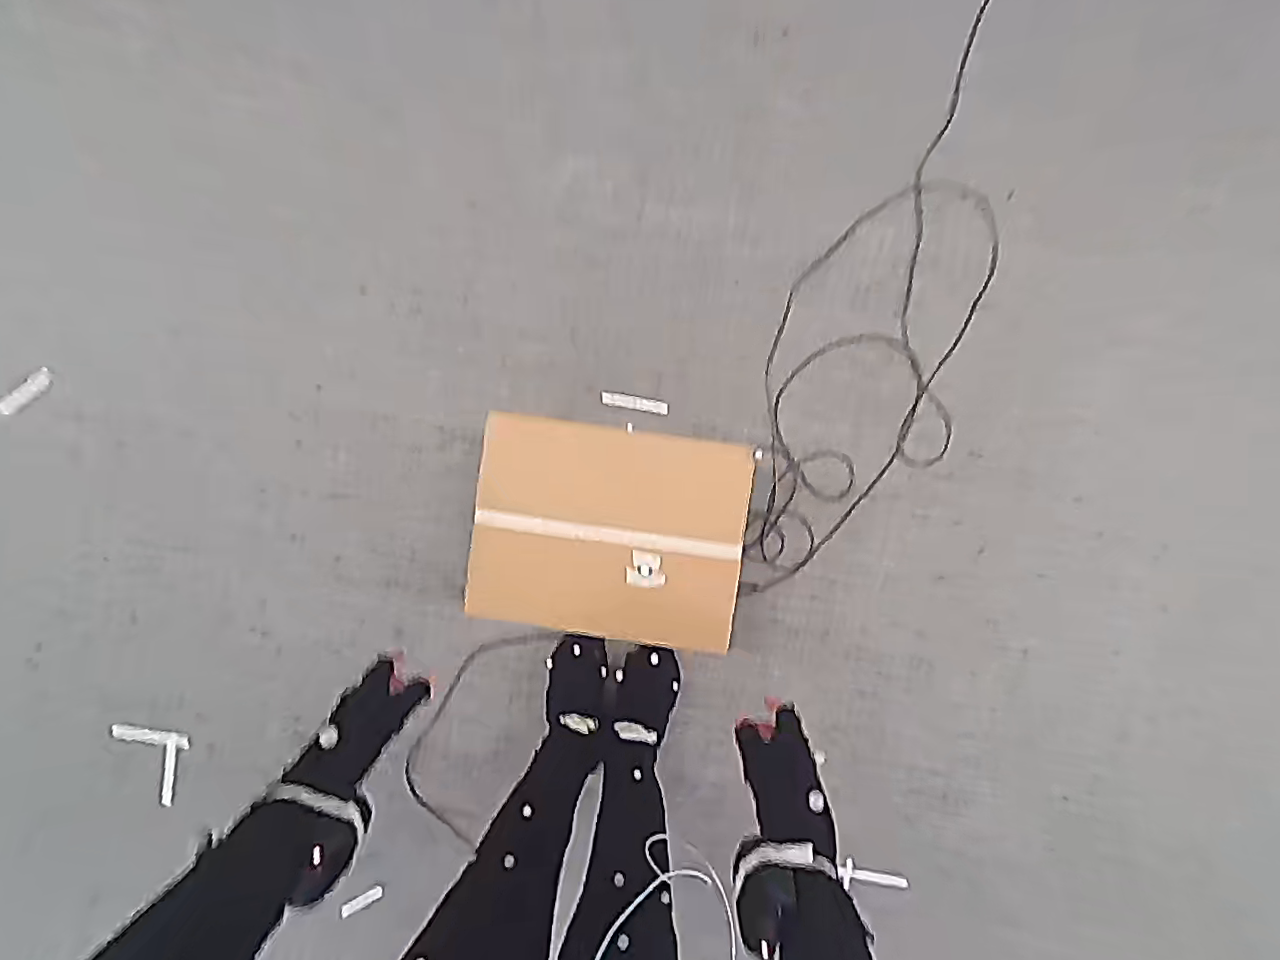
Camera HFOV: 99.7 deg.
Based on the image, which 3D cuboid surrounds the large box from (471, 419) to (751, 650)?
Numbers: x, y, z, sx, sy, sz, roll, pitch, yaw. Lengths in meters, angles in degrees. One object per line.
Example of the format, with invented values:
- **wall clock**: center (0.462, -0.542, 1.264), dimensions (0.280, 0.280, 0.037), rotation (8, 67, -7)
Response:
- **large box**: center (-0.042, 0.079, 0.965), dimensions (0.408, 0.320, 0.320), rotation (8, 93, 3)
